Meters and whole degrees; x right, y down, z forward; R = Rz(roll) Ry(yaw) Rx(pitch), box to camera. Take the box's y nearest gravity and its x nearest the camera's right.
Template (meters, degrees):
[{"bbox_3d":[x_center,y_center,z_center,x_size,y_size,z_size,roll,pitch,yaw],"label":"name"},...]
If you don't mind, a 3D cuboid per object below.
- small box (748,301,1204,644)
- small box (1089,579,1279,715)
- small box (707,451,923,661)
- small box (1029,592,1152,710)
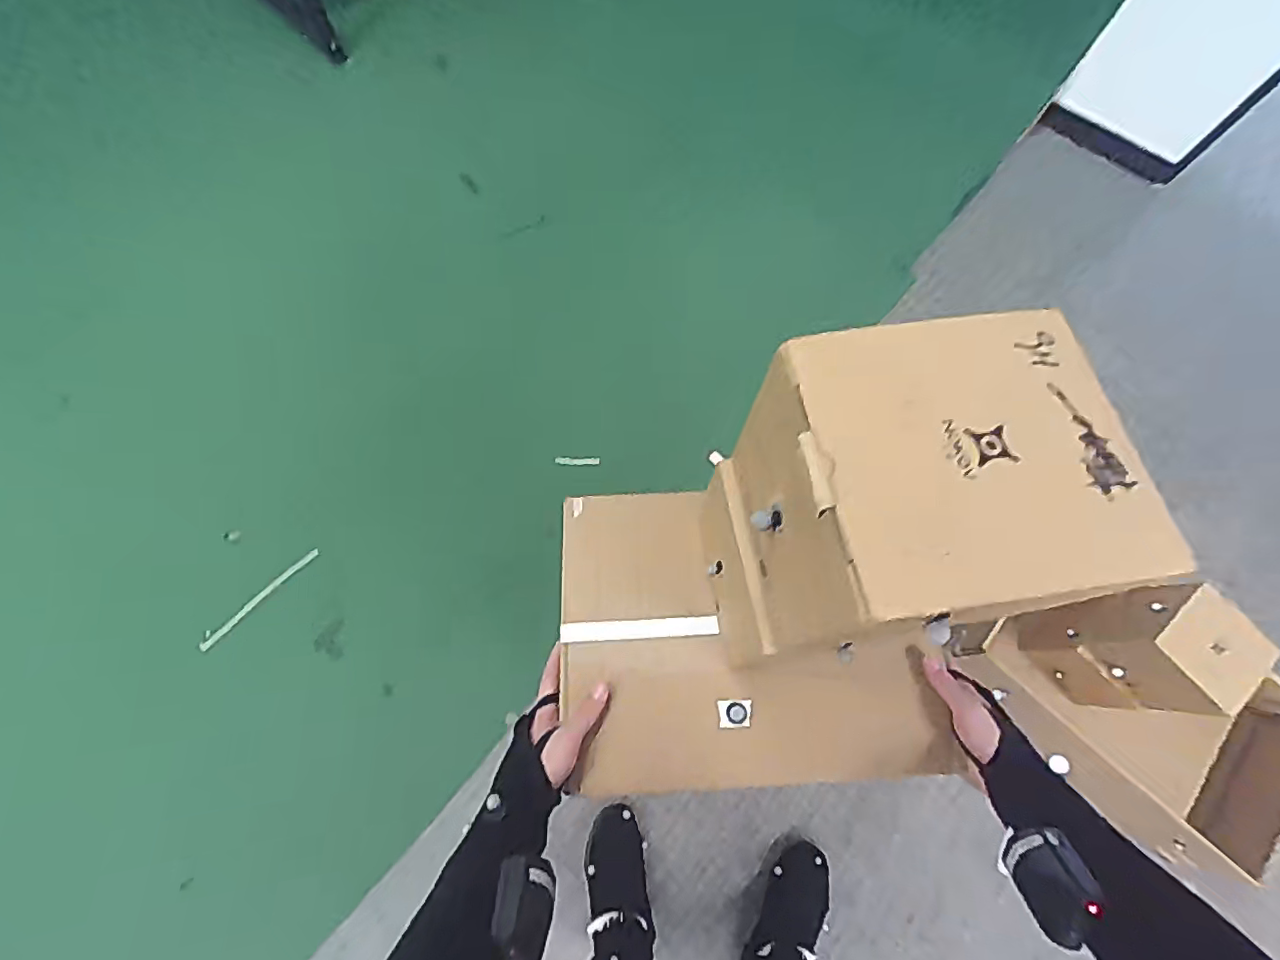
[{"bbox_3d":[0.178,0.010,0.360,0.179,0.176,0.168,-7,69,-3],"label":"small box"},{"bbox_3d":[1.024,0.315,1.031,0.179,0.176,0.168,-37,77,-13],"label":"small box"},{"bbox_3d":[0.165,0.072,0.512,0.179,0.176,0.168,-8,69,-4],"label":"small box"},{"bbox_3d":[1.011,0.370,1.184,0.179,0.176,0.168,-41,79,-14],"label":"small box"}]
